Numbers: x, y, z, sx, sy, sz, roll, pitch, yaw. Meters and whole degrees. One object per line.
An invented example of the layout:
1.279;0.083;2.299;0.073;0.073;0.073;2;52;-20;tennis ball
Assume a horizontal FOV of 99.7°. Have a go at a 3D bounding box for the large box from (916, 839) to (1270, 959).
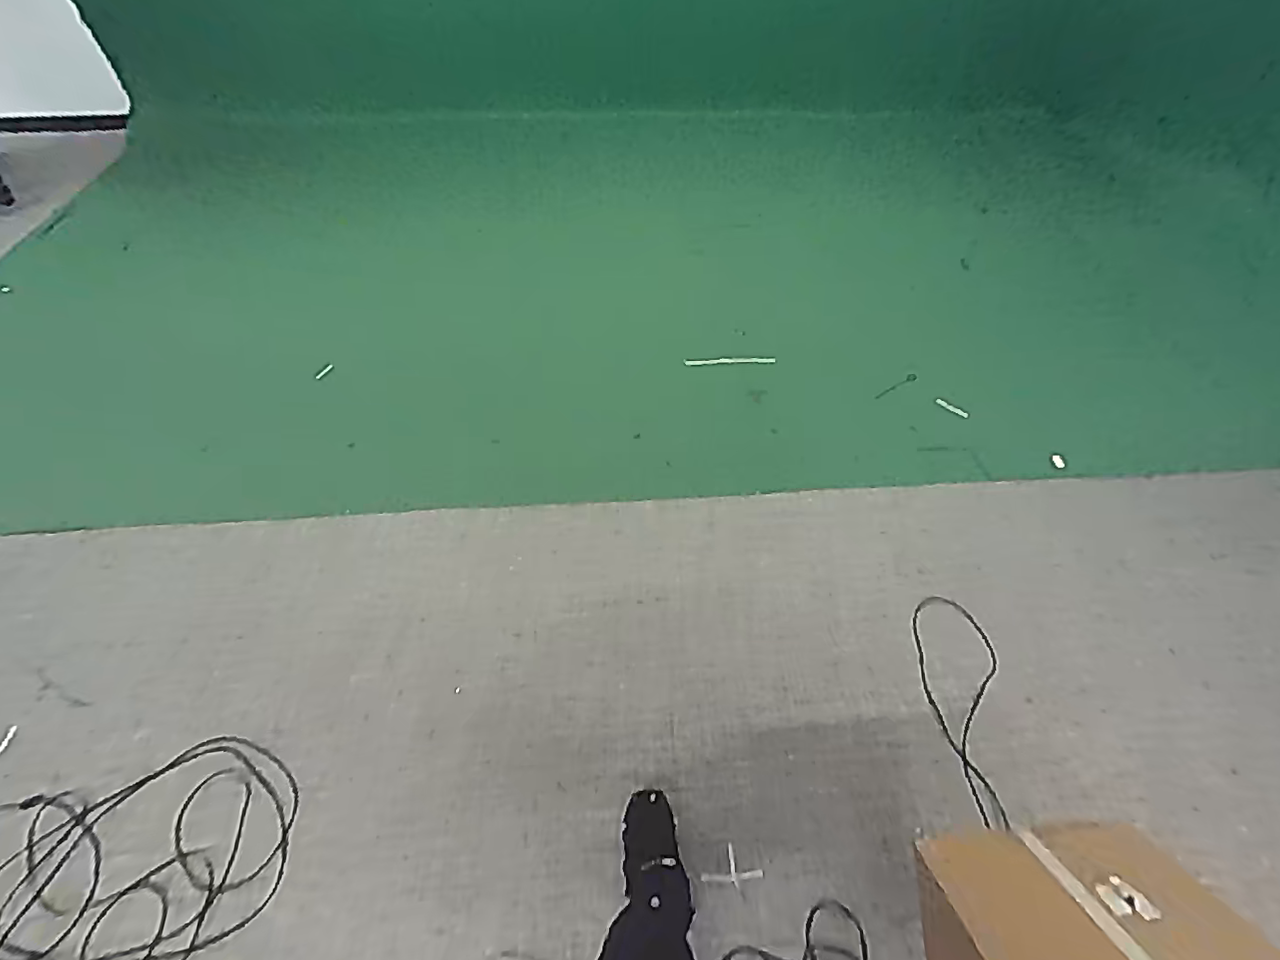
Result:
0.577;0.706;0.615;0.320;0.408;0.320;-6;91;4;large box
